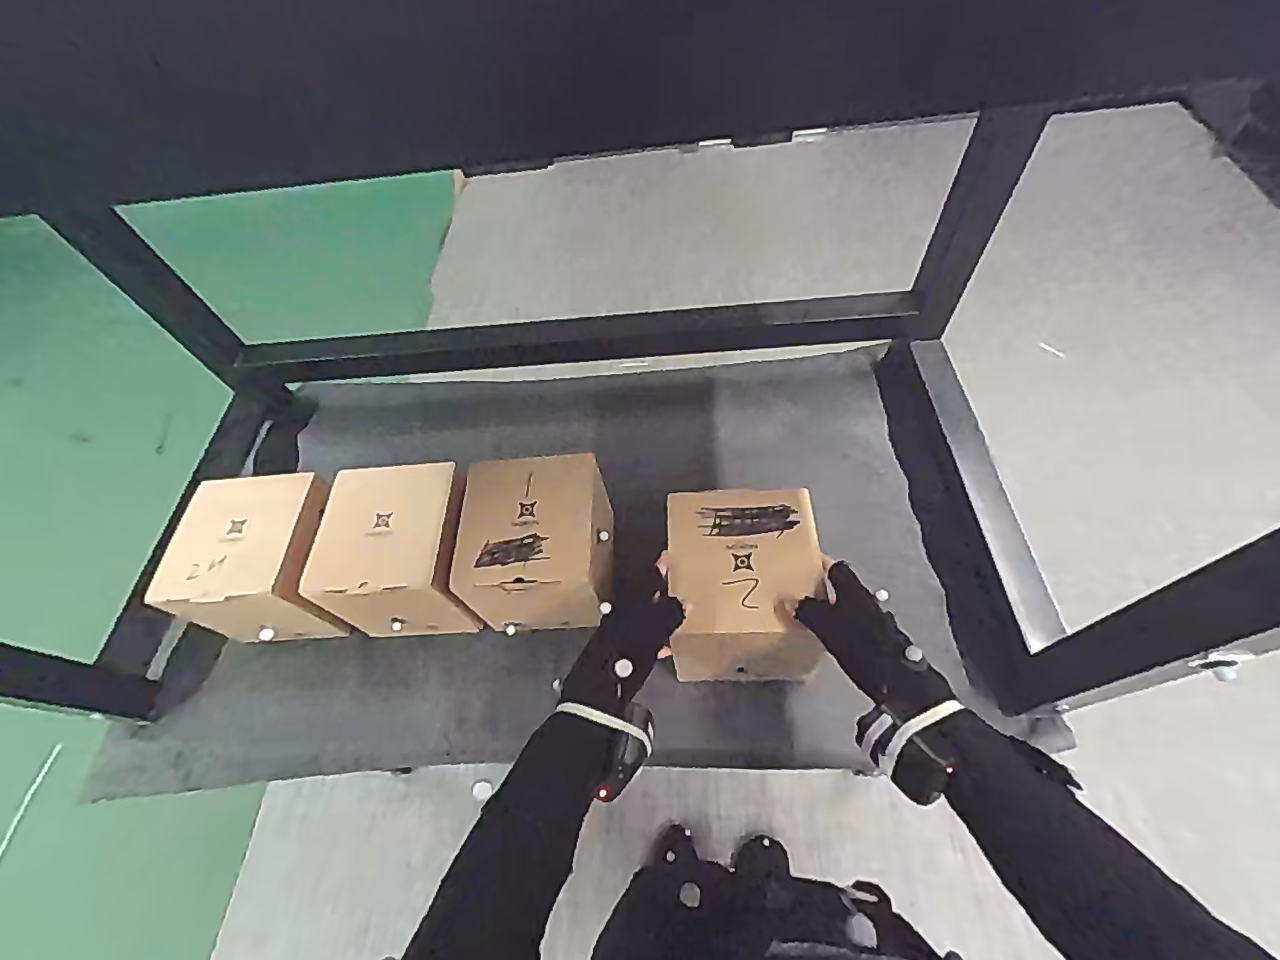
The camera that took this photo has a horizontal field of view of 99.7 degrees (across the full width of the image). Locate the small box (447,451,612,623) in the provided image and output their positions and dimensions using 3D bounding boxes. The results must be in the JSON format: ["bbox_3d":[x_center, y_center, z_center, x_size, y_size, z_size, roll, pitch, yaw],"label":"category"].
[{"bbox_3d":[-0.131,0.084,0.719,0.168,0.176,0.179,-4,56,5],"label":"small box"}]

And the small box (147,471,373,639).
[{"bbox_3d":[-0.503,0.108,0.752,0.168,0.176,0.179,-5,57,5],"label":"small box"}]
